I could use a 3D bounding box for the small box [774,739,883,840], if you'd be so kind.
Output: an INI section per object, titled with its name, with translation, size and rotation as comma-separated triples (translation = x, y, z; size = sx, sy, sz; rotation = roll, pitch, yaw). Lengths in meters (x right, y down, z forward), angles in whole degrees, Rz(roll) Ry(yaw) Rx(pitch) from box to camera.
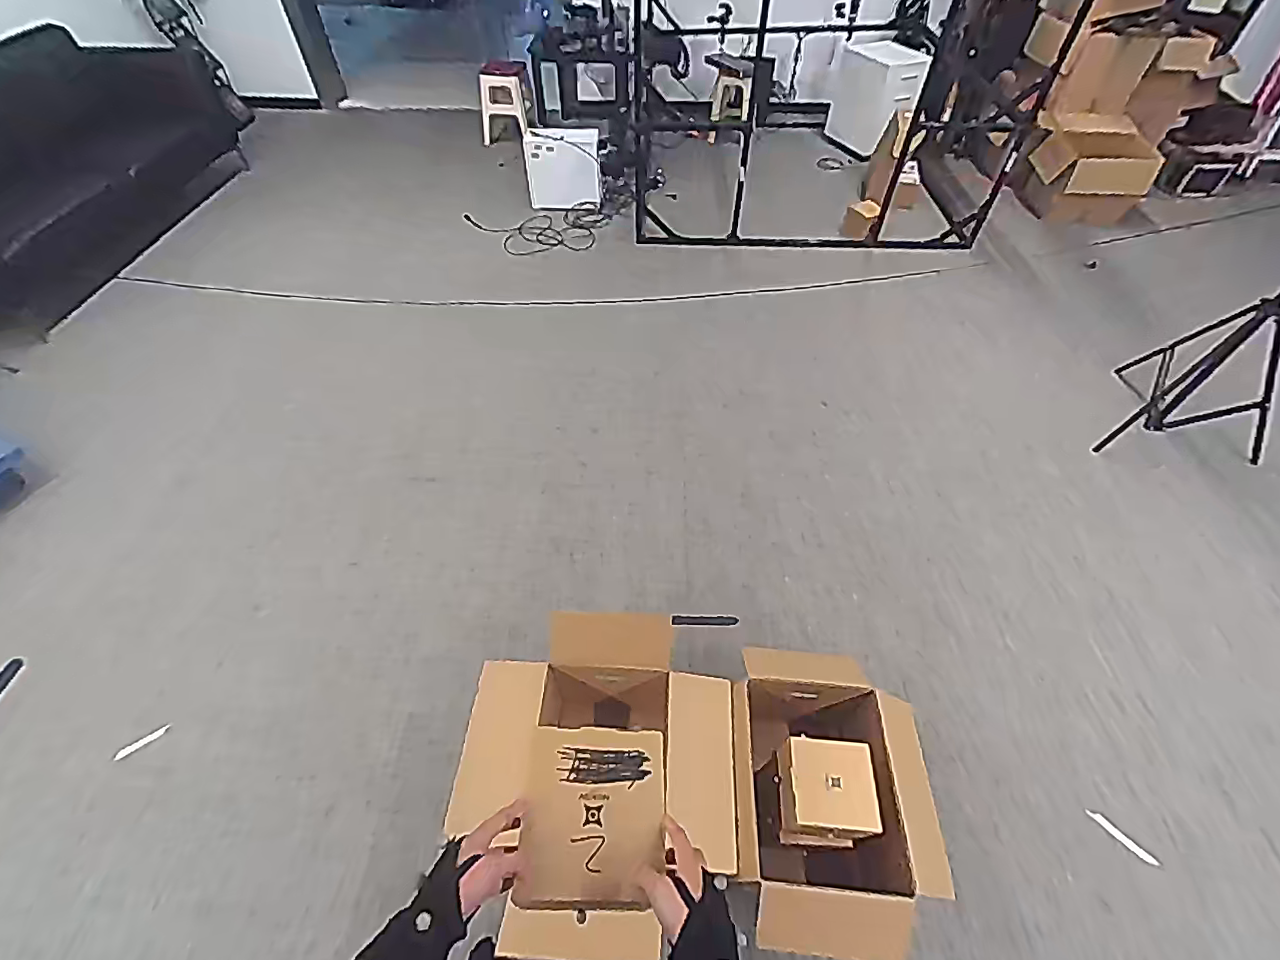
[small box]
translation = 0.405, 0.685, 1.192
size = 0.179, 0.176, 0.168
rotation = 4, 53, 3
